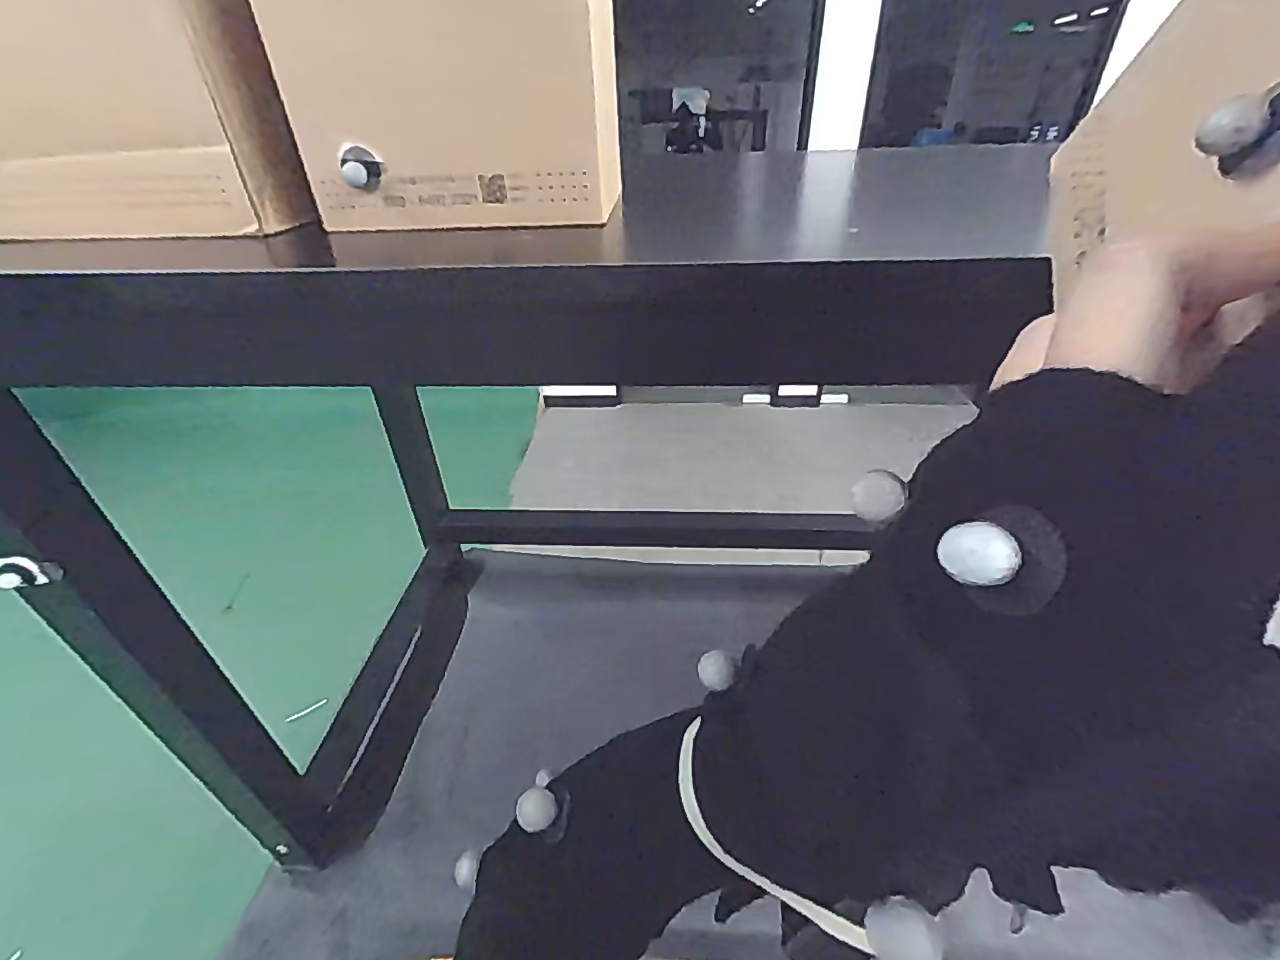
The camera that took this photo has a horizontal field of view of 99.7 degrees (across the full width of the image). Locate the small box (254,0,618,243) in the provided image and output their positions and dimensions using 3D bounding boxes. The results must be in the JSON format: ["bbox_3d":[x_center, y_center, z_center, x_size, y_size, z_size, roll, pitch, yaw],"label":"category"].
[{"bbox_3d":[-0.103,-0.252,0.342,0.168,0.176,0.179,0,33,3],"label":"small box"}]

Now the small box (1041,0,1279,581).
[{"bbox_3d":[0.230,-0.062,0.124,0.179,0.176,0.168,10,75,6],"label":"small box"}]
